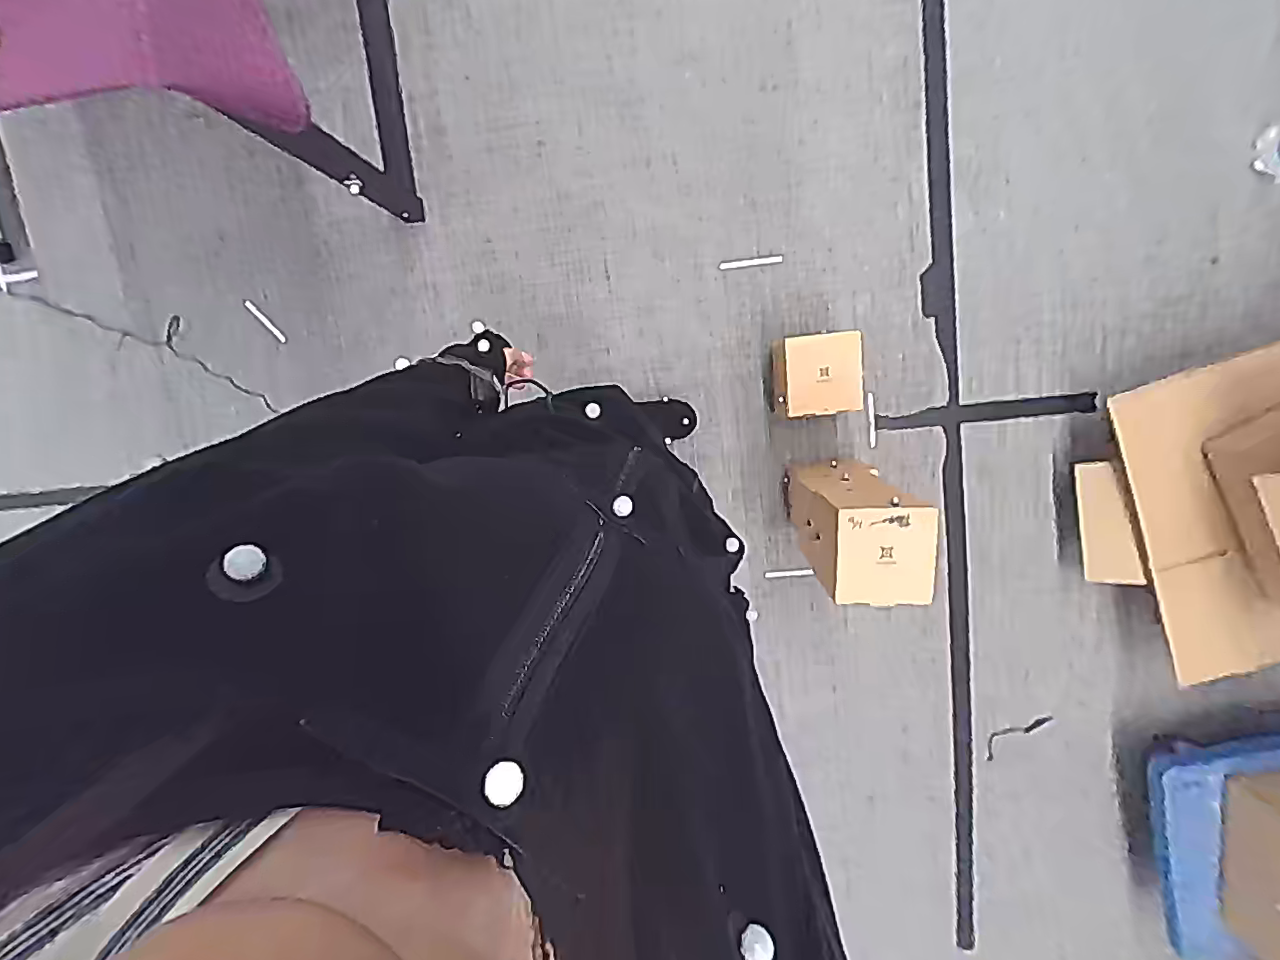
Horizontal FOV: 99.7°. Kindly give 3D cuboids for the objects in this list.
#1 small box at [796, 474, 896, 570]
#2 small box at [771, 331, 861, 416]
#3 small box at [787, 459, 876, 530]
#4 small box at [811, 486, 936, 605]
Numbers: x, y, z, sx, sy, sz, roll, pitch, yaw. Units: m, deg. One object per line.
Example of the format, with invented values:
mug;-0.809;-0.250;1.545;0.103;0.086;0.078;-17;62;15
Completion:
small box;0.436;0.084;1.165;0.168;0.176;0.179;-4;101;5
small box;0.409;-0.248;1.273;0.168;0.176;0.179;-5;101;4
small box;0.463;0.047;1.324;0.179;0.176;0.168;-6;101;4
small box;0.421;0.115;1.005;0.168;0.176;0.179;0;102;4
